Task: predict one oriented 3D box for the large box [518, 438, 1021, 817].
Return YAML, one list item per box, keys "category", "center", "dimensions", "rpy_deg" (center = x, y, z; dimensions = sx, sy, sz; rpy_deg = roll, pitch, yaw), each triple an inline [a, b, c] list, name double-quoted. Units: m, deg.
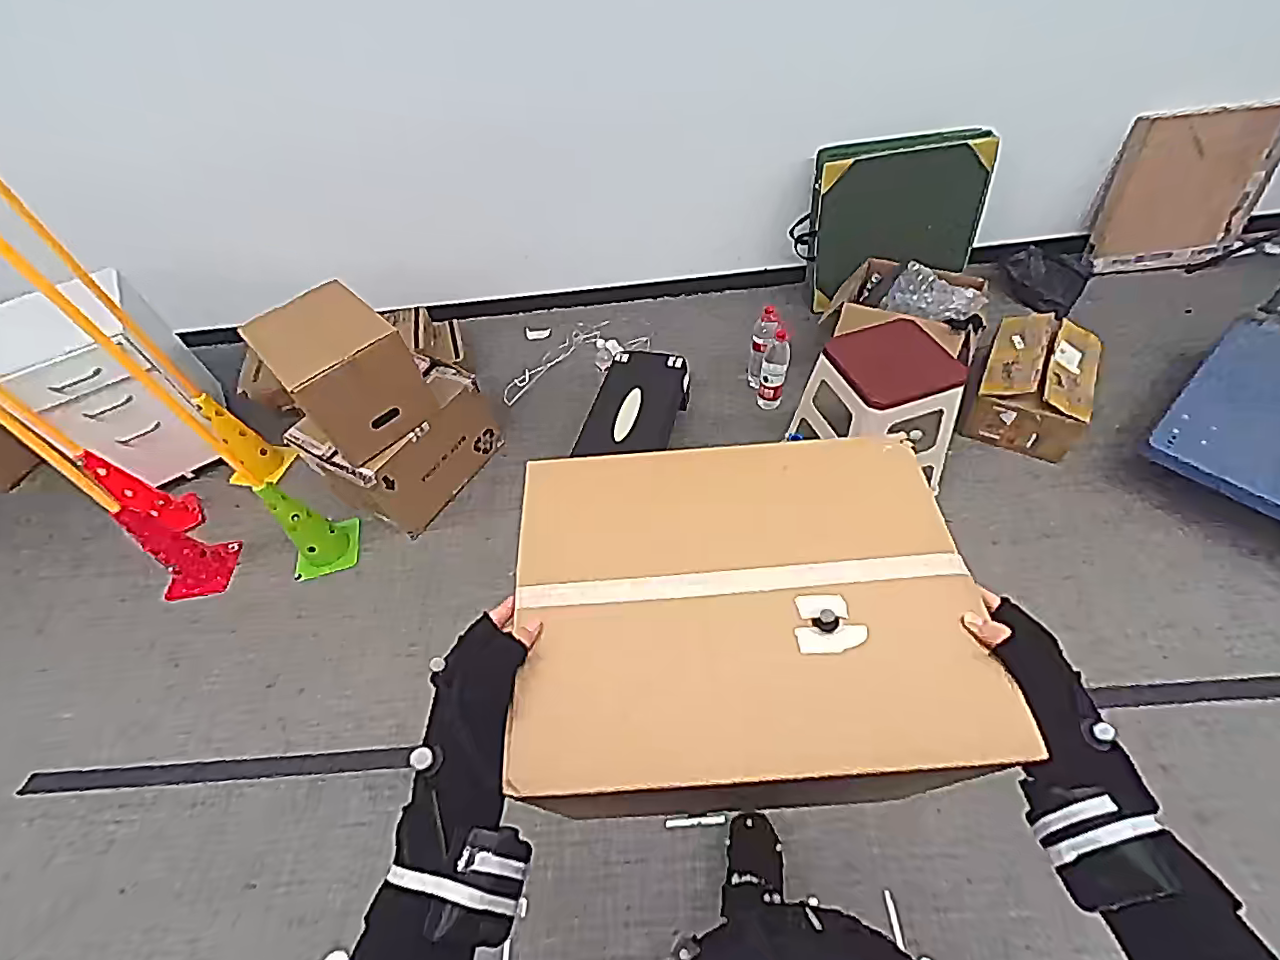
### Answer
- category: "large box"
  center: [0.097, 0.181, 0.625]
  dimensions: [0.408, 0.320, 0.320]
  rpy_deg: [-5, 55, 0]
